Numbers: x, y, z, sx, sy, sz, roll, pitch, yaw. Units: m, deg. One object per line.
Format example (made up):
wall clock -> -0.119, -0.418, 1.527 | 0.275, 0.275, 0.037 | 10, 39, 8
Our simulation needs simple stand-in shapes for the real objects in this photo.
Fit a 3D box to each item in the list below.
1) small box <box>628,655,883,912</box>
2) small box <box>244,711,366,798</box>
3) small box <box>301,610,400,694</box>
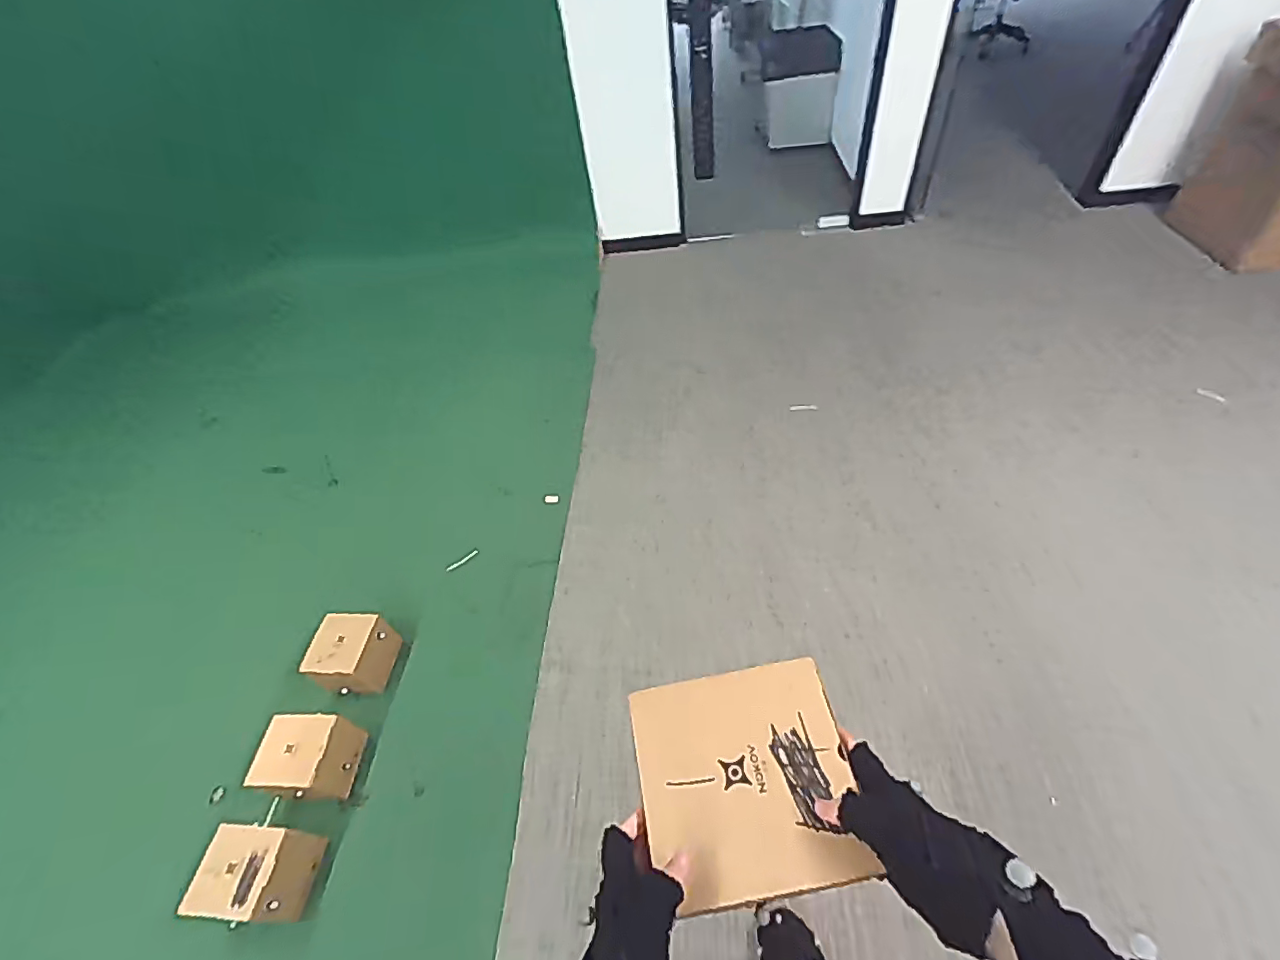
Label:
small box -> 0.091, 0.286, 0.508 | 0.179, 0.176, 0.168 | -11, 50, -2
small box -> -0.850, 0.709, 1.391 | 0.179, 0.176, 0.168 | -2, 49, 6
small box -> -0.827, 0.499, 1.568 | 0.168, 0.176, 0.179 | 0, 49, 8
